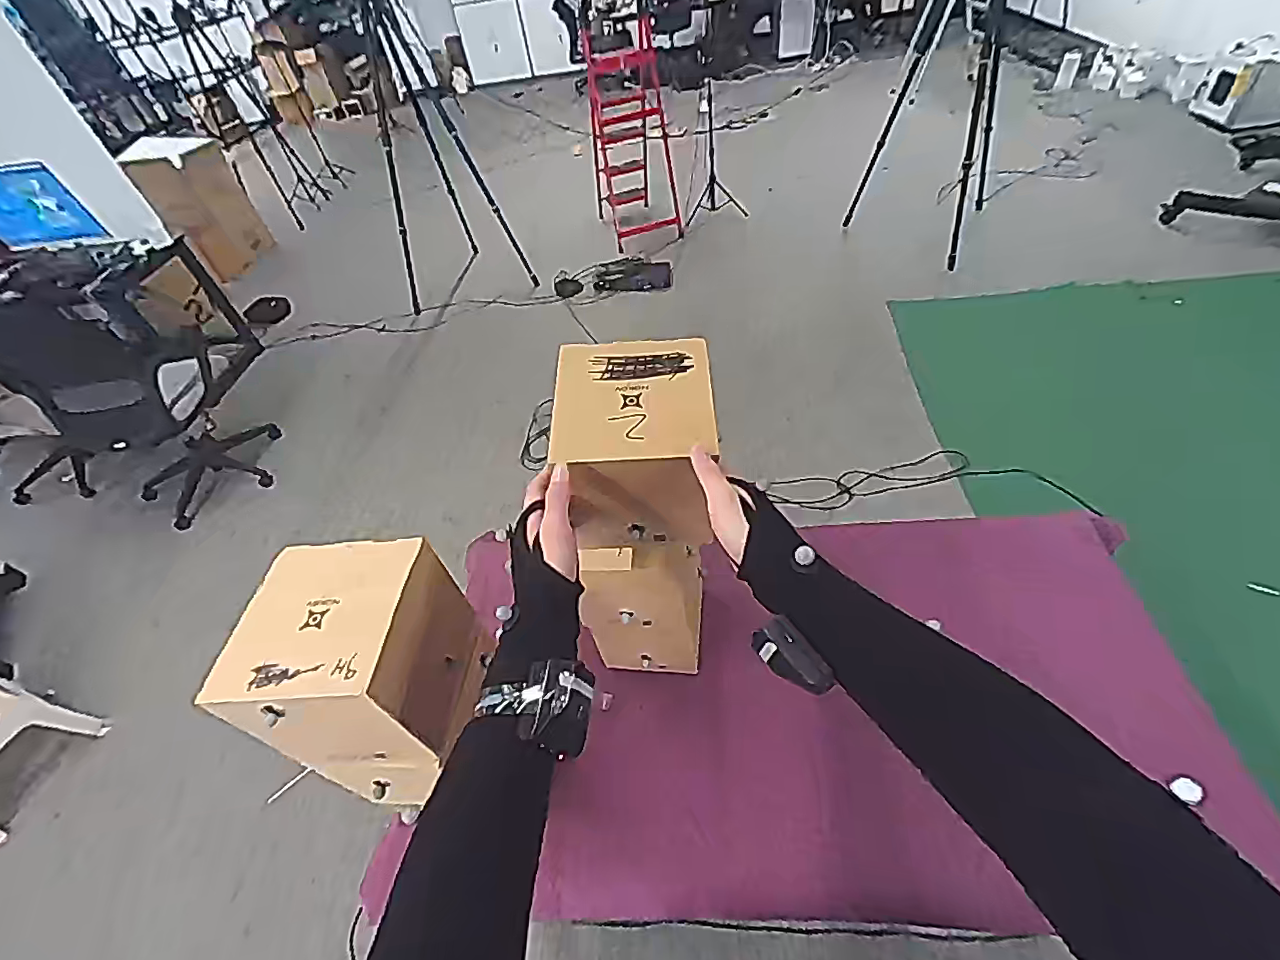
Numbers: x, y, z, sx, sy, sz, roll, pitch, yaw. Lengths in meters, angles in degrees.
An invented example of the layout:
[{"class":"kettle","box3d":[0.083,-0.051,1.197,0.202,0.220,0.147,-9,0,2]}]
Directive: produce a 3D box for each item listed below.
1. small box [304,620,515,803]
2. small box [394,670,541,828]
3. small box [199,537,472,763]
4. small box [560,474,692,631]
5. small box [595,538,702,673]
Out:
[{"class":"small box","box3d":[-0.276,0.301,0.700,0.168,0.176,0.179,-3,45,9]},{"class":"small box","box3d":[-0.258,0.406,0.822,0.168,0.176,0.179,-3,47,8]},{"class":"small box","box3d":[-0.301,0.184,0.586,0.168,0.176,0.179,-6,44,8]},{"class":"small box","box3d":[-0.009,0.109,0.825,0.168,0.176,0.179,-1,48,10]},{"class":"small box","box3d":[0.019,0.215,0.948,0.168,0.176,0.179,1,48,11]}]
